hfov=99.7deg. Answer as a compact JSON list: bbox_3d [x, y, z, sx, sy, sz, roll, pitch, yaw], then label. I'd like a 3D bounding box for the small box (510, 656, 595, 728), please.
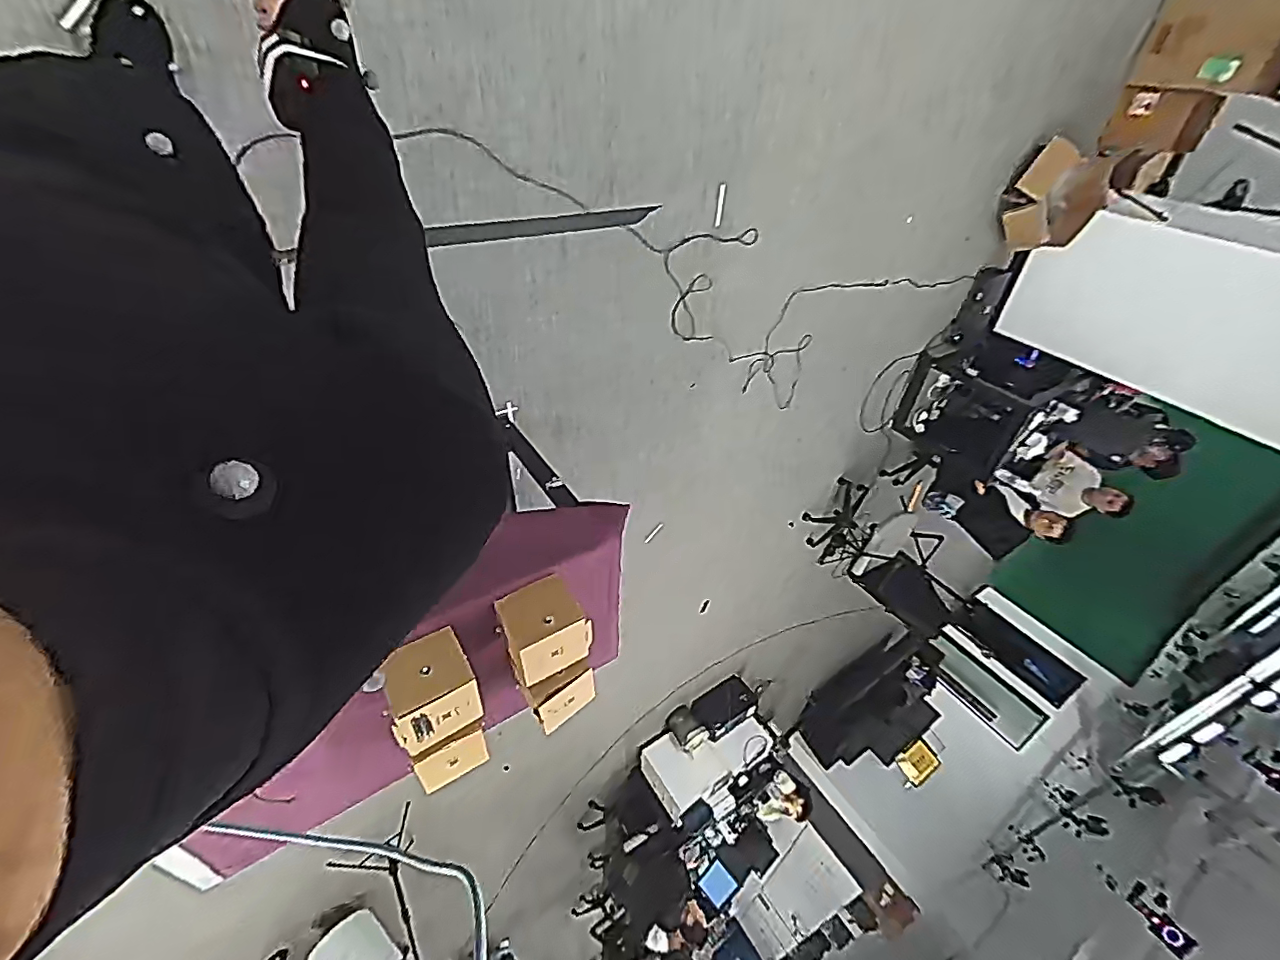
[{"bbox_3d":[-0.246,0.556,1.536,0.179,0.176,0.168,-24,137,-25],"label":"small box"}]

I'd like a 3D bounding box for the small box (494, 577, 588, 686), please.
[{"bbox_3d":[-0.250,0.377,1.373,0.179,0.176,0.168,-23,136,-26],"label":"small box"}]
